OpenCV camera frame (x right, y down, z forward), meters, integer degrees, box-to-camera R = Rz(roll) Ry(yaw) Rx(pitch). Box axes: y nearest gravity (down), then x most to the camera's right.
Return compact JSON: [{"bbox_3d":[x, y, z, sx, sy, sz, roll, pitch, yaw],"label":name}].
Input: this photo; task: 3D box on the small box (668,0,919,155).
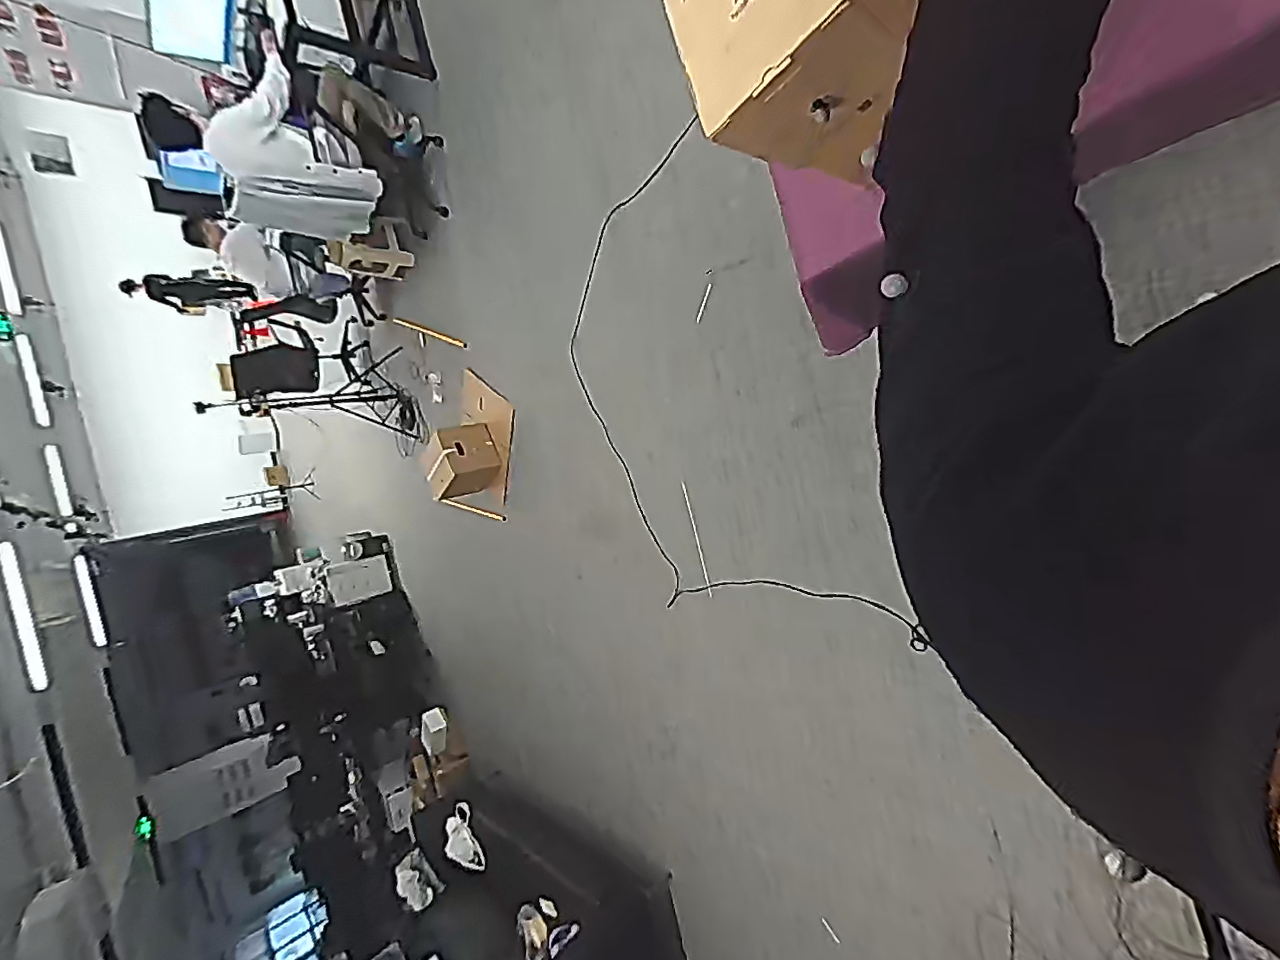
[{"bbox_3d":[0.159,-0.471,0.561,0.168,0.176,0.179,-19,86,49],"label":"small box"}]
